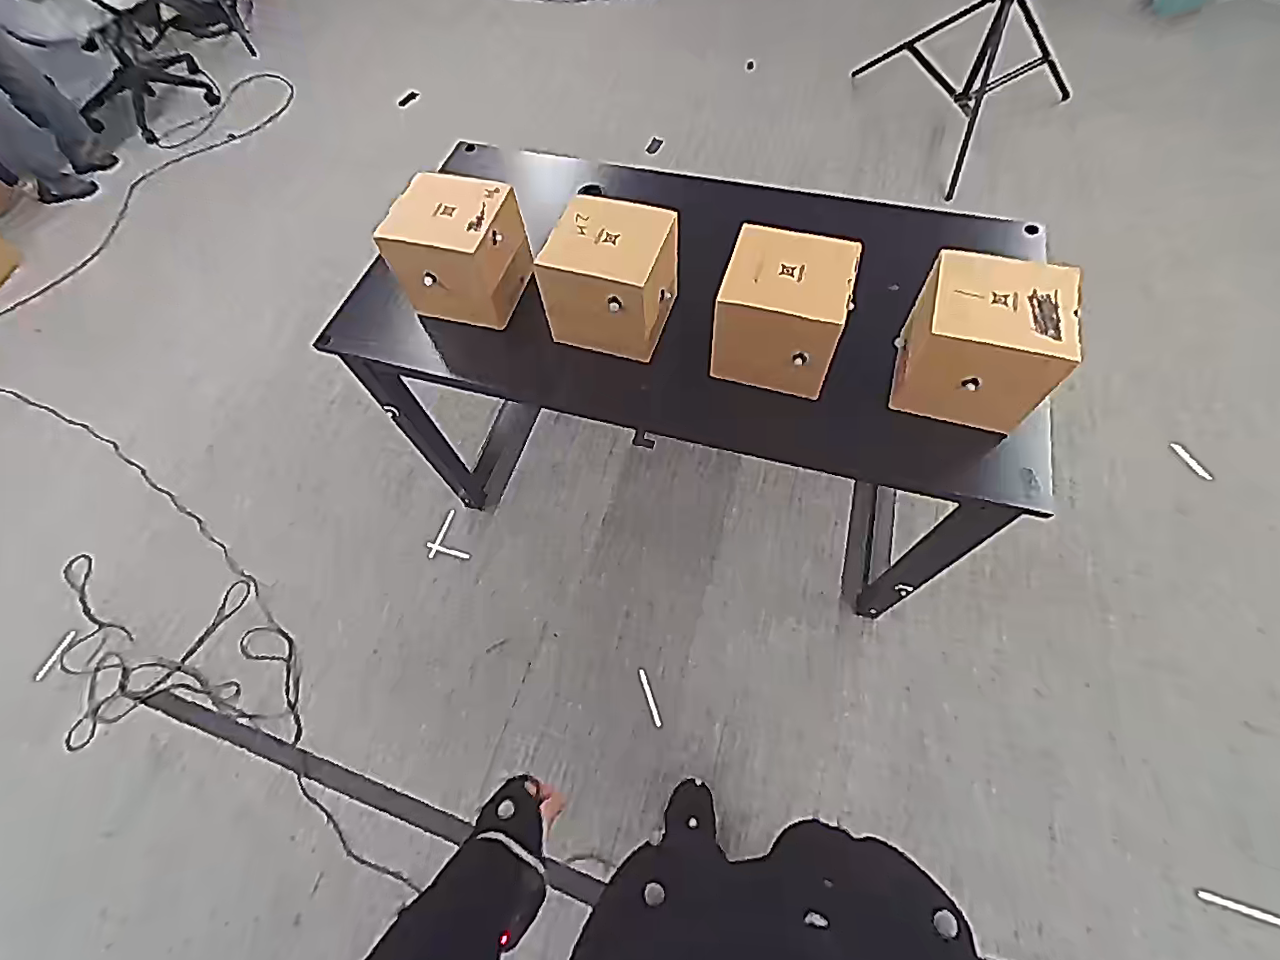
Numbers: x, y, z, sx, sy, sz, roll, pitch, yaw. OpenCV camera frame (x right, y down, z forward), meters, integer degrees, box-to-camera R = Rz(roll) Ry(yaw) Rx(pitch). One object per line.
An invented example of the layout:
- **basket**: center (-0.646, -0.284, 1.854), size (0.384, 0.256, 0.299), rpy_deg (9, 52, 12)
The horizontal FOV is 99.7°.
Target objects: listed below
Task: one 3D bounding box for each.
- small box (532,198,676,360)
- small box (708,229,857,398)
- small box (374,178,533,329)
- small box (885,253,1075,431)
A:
- **small box**: center (-0.048, -0.320, 0.882), size (0.179, 0.176, 0.168), rpy_deg (15, 64, 12)
- **small box**: center (0.211, -0.248, 0.829), size (0.179, 0.176, 0.168), rpy_deg (14, 63, 10)
- **small box**: center (-0.308, -0.385, 0.933), size (0.179, 0.176, 0.168), rpy_deg (12, 64, 10)
- **small box**: center (0.480, -0.191, 0.780), size (0.179, 0.176, 0.168), rpy_deg (15, 64, 13)
